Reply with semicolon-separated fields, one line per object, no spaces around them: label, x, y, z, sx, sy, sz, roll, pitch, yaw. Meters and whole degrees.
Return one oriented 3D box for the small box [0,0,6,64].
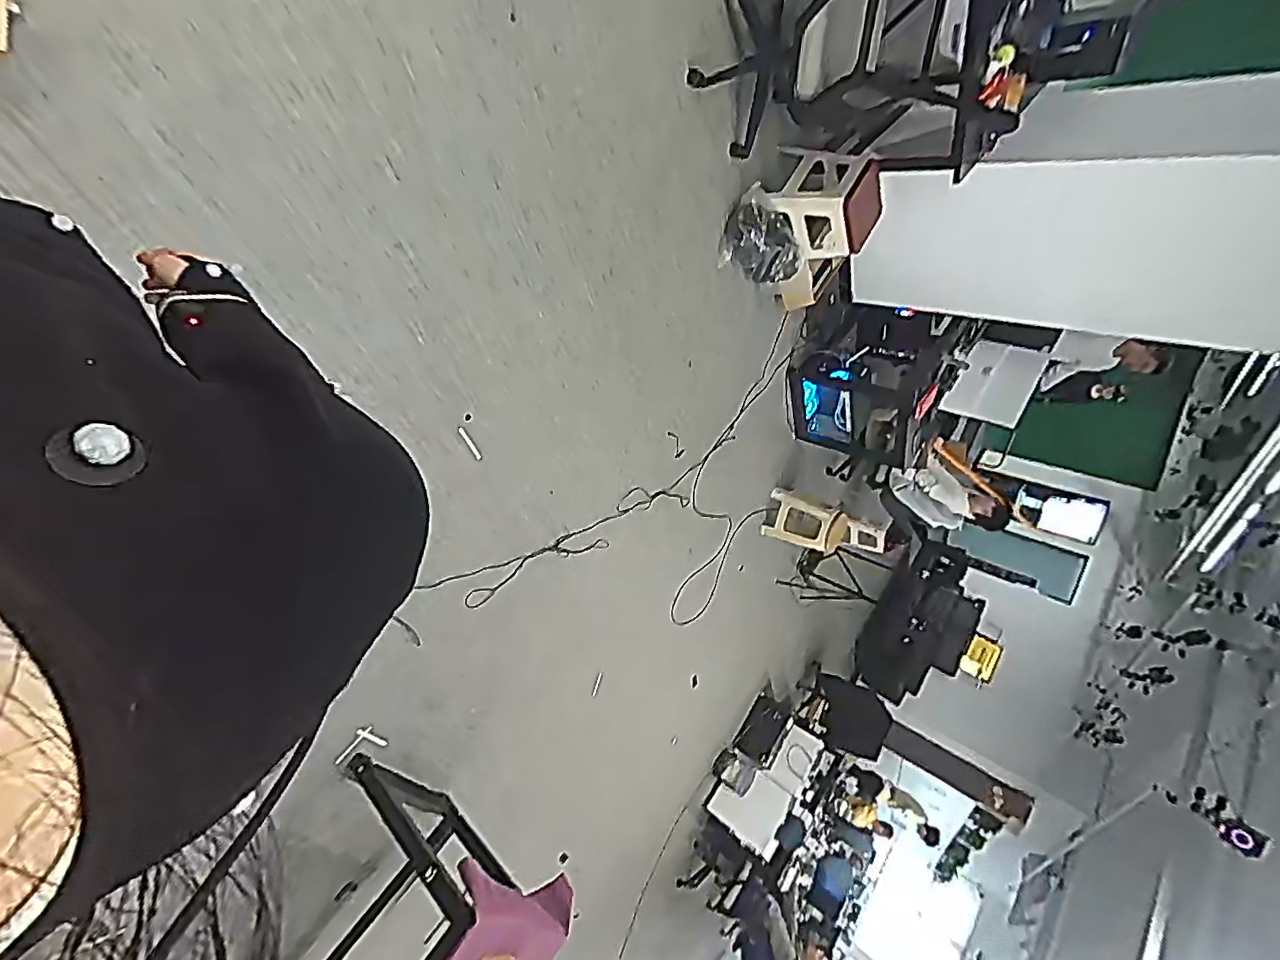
small box;-1.023;-0.726;0.759;0.168;0.176;0.179;-2;109;-51
